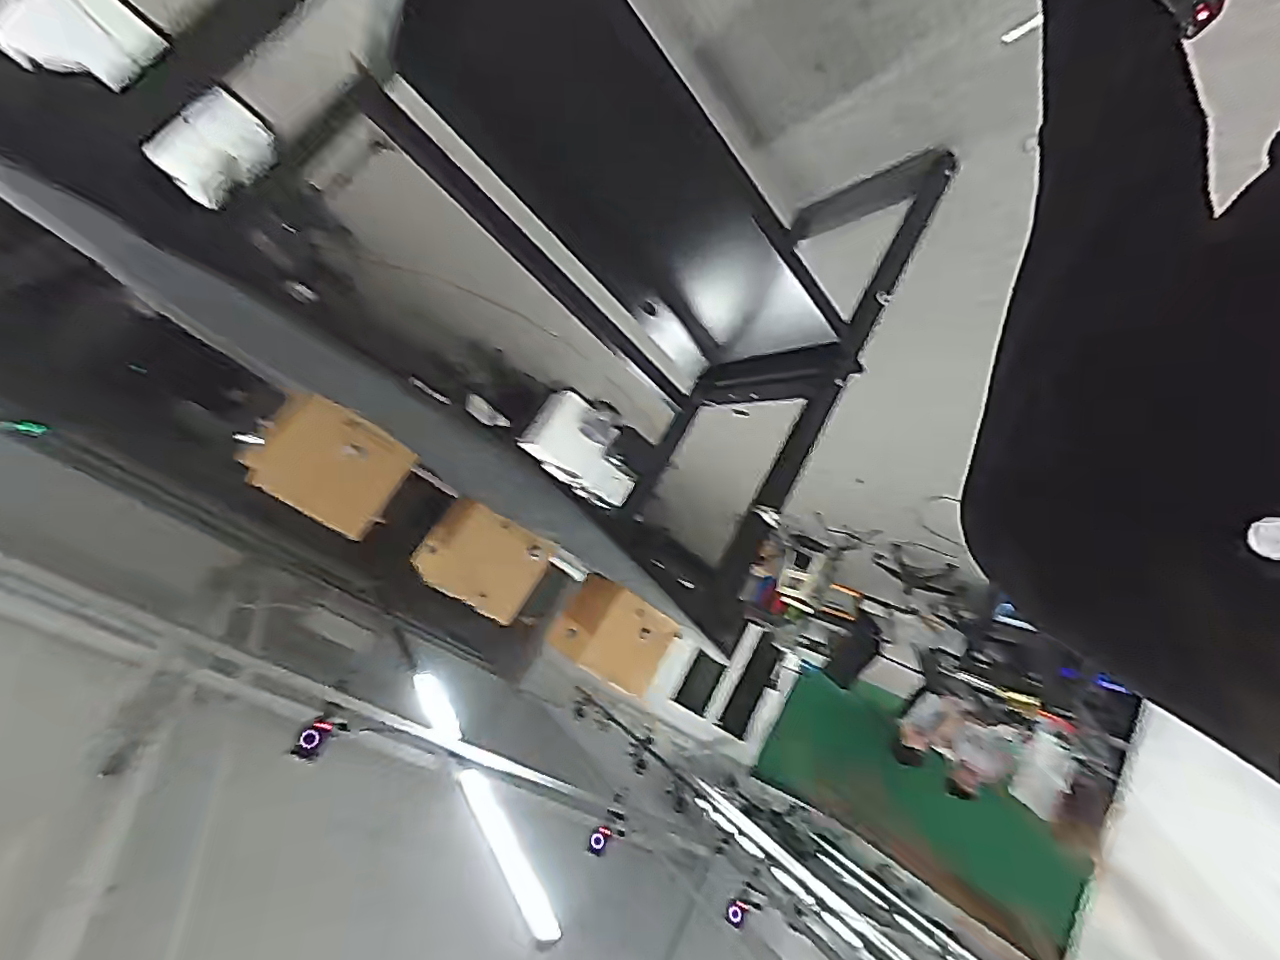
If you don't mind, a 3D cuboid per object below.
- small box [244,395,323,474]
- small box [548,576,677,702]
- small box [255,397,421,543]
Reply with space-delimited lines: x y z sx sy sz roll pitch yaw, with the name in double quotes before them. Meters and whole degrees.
"small box" -0.628 -0.054 1.059 0.179 0.176 0.168 40 164 -30
"small box" -0.054 0.314 1.103 0.168 0.176 0.179 38 163 -24
"small box" -0.486 -0.016 0.896 0.168 0.176 0.179 37 164 -20
